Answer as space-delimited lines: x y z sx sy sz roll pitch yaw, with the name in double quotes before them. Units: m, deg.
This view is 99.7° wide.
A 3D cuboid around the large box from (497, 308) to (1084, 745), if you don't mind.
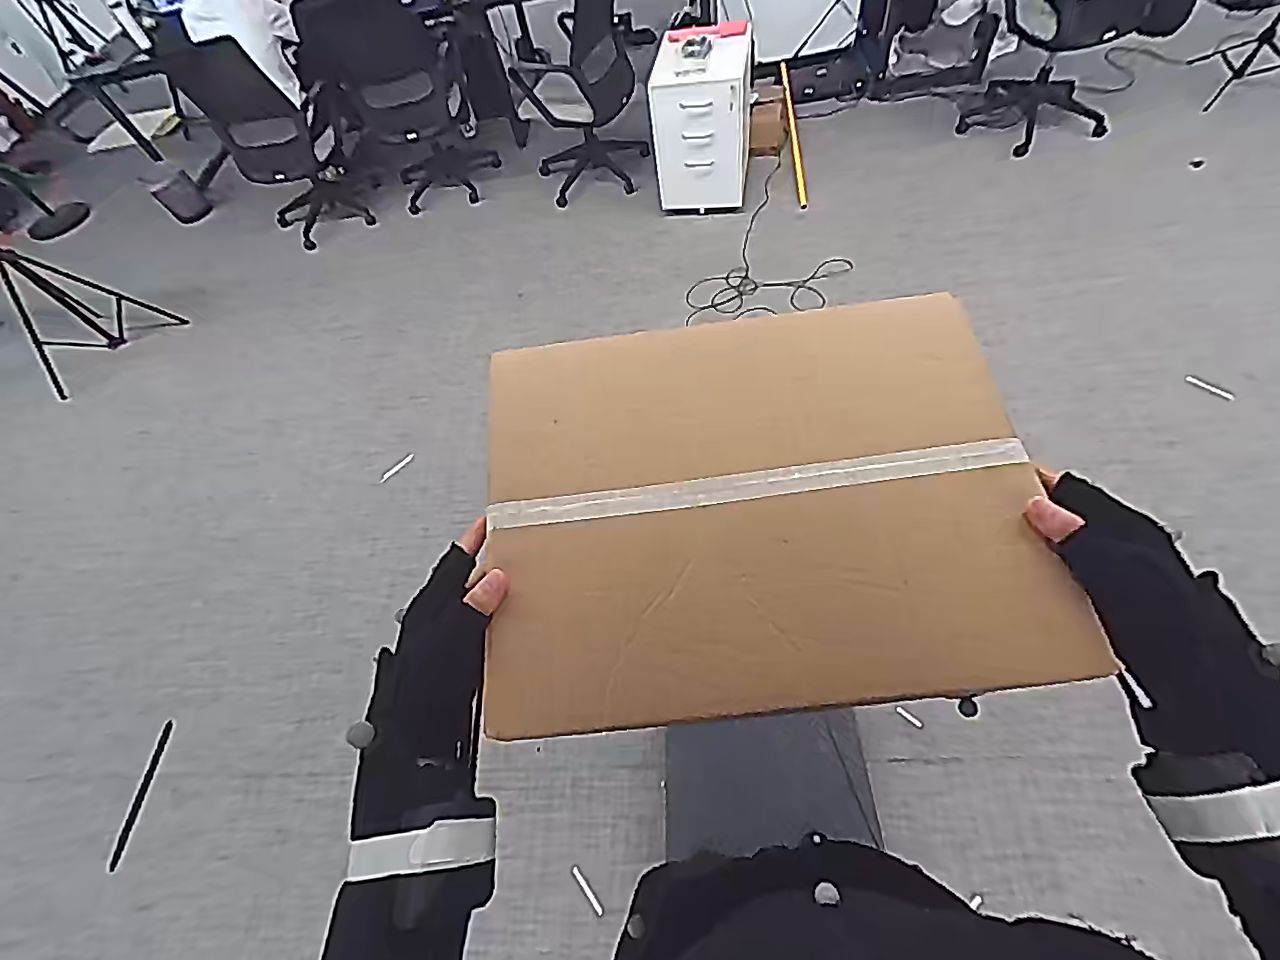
"large box" 0.099 0.072 0.558 0.408 0.320 0.320 -8 66 3
